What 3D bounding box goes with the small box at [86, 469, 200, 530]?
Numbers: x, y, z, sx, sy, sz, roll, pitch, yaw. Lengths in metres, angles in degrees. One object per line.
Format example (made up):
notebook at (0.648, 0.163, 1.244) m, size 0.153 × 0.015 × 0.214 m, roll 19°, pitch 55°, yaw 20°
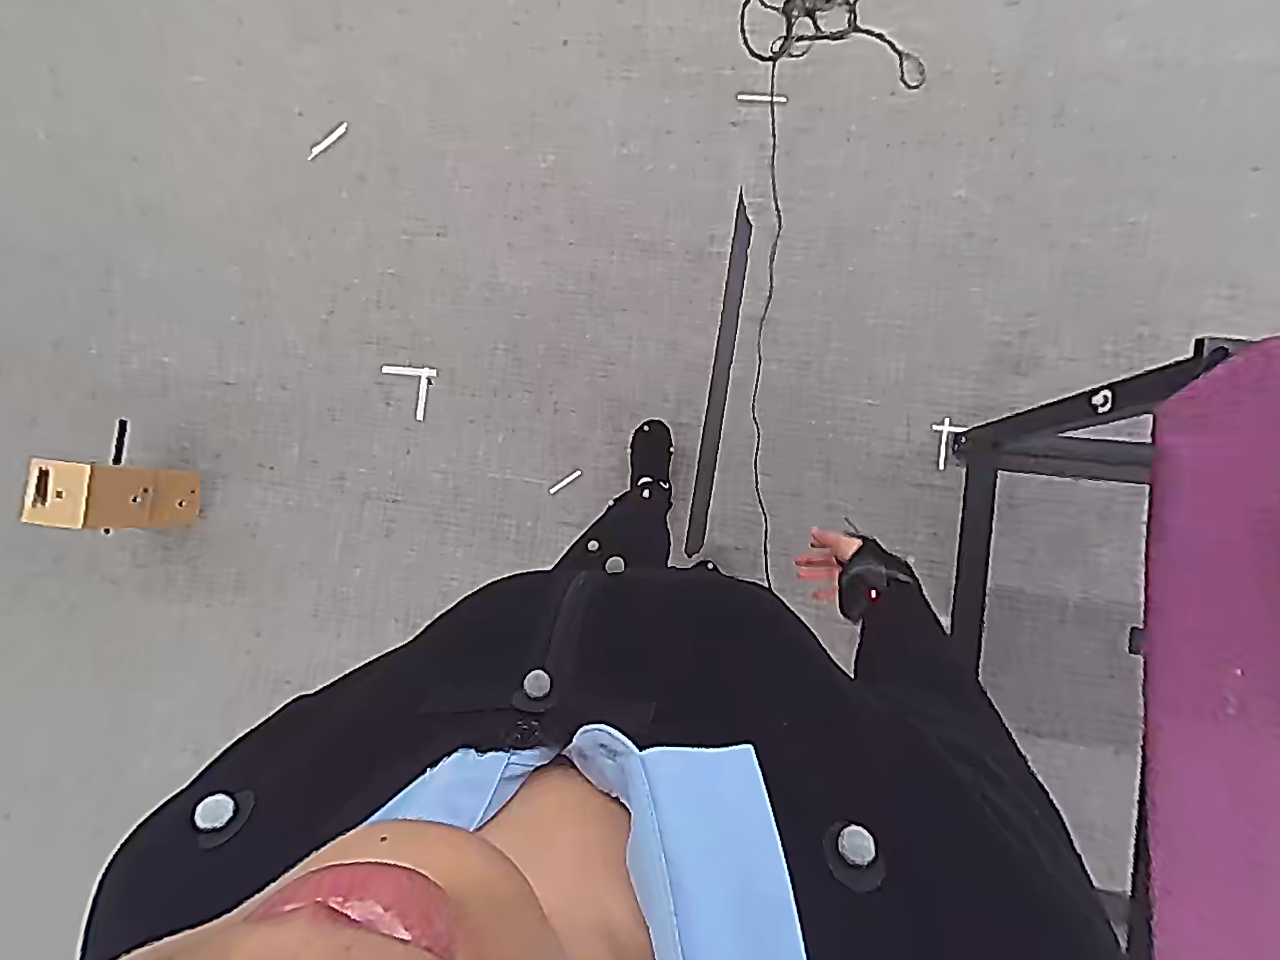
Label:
small box at (-1.455, 0.061, 1.590) m, size 0.179 × 0.176 × 0.168 m, roll 2°, pitch 87°, yaw 6°
